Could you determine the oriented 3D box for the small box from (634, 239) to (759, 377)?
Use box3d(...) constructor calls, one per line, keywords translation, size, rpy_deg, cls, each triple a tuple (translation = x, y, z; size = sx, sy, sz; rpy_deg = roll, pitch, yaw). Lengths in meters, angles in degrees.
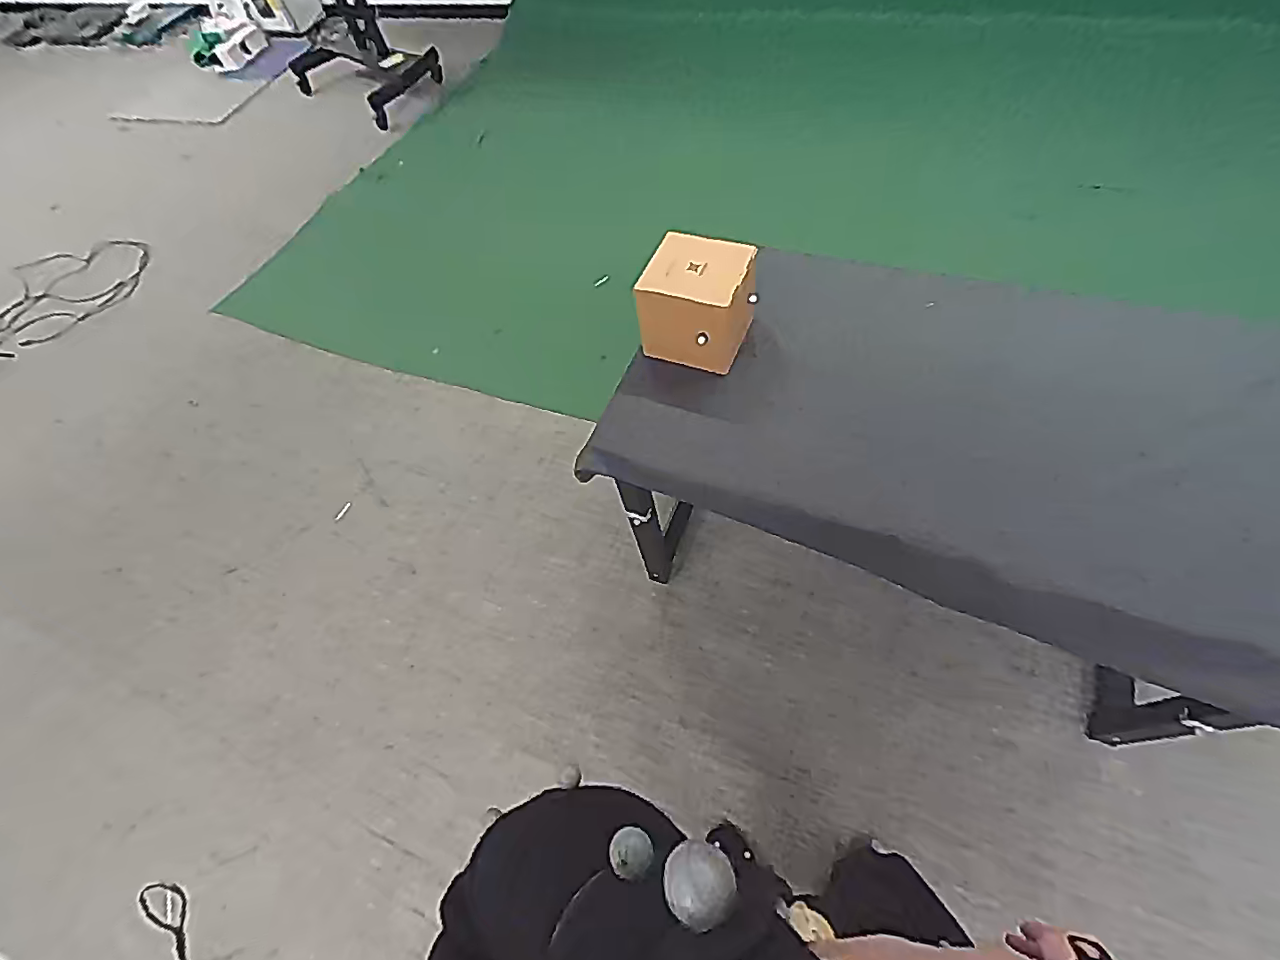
box3d(translation=(0.109, -0.318, 1.017), size=(0.179, 0.176, 0.168), rpy_deg=(20, 61, 19), cls="small box")
